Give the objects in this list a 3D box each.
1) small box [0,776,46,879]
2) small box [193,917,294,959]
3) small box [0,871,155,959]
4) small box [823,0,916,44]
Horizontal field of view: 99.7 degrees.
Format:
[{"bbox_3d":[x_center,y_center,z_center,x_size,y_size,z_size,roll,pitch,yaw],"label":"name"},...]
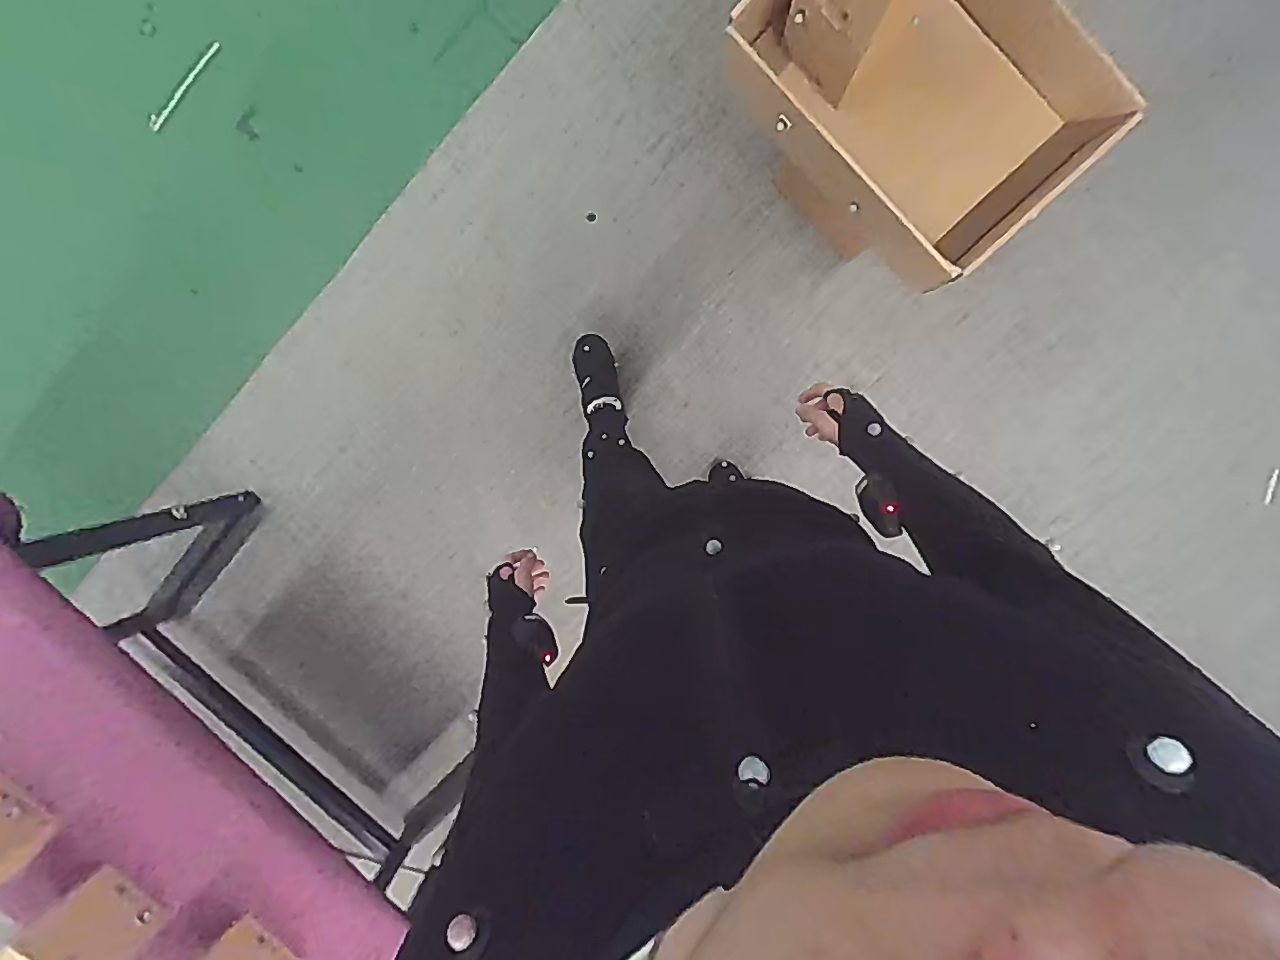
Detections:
[{"bbox_3d":[-1.281,0.693,0.997,0.168,0.176,0.179,43,98,-4],"label":"small box"},{"bbox_3d":[-0.797,0.985,1.009,0.179,0.176,0.168,-44,94,9],"label":"small box"},{"bbox_3d":[-1.078,0.893,1.014,0.168,0.176,0.179,44,100,-3],"label":"small box"},{"bbox_3d":[0.373,-0.814,0.794,0.179,0.176,0.168,-41,94,9],"label":"small box"}]
